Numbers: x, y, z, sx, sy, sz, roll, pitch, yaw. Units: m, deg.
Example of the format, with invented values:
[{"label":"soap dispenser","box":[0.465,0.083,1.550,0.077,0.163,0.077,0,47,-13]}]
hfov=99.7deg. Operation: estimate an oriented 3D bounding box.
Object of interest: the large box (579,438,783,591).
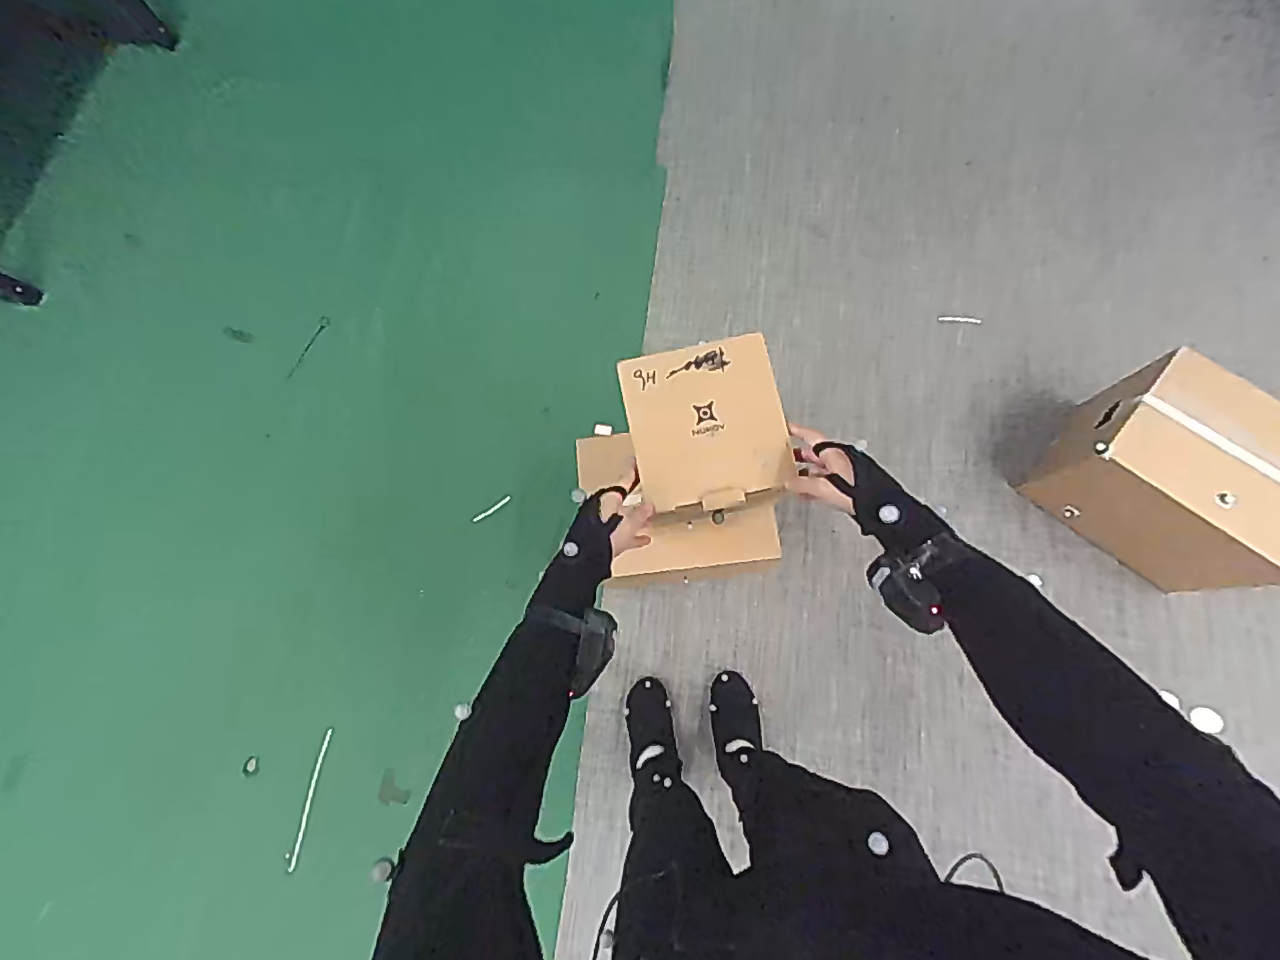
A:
[{"label":"large box","box":[0.095,0.079,1.285,0.408,0.320,0.320,-8,73,5]}]

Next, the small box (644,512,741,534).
[{"label":"small box","box":[0.098,0.010,1.048,0.179,0.176,0.168,-4,76,4]}]

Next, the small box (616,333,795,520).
[{"label":"small box","box":[0.074,-0.050,0.657,0.168,0.176,0.179,-12,80,2]}]
